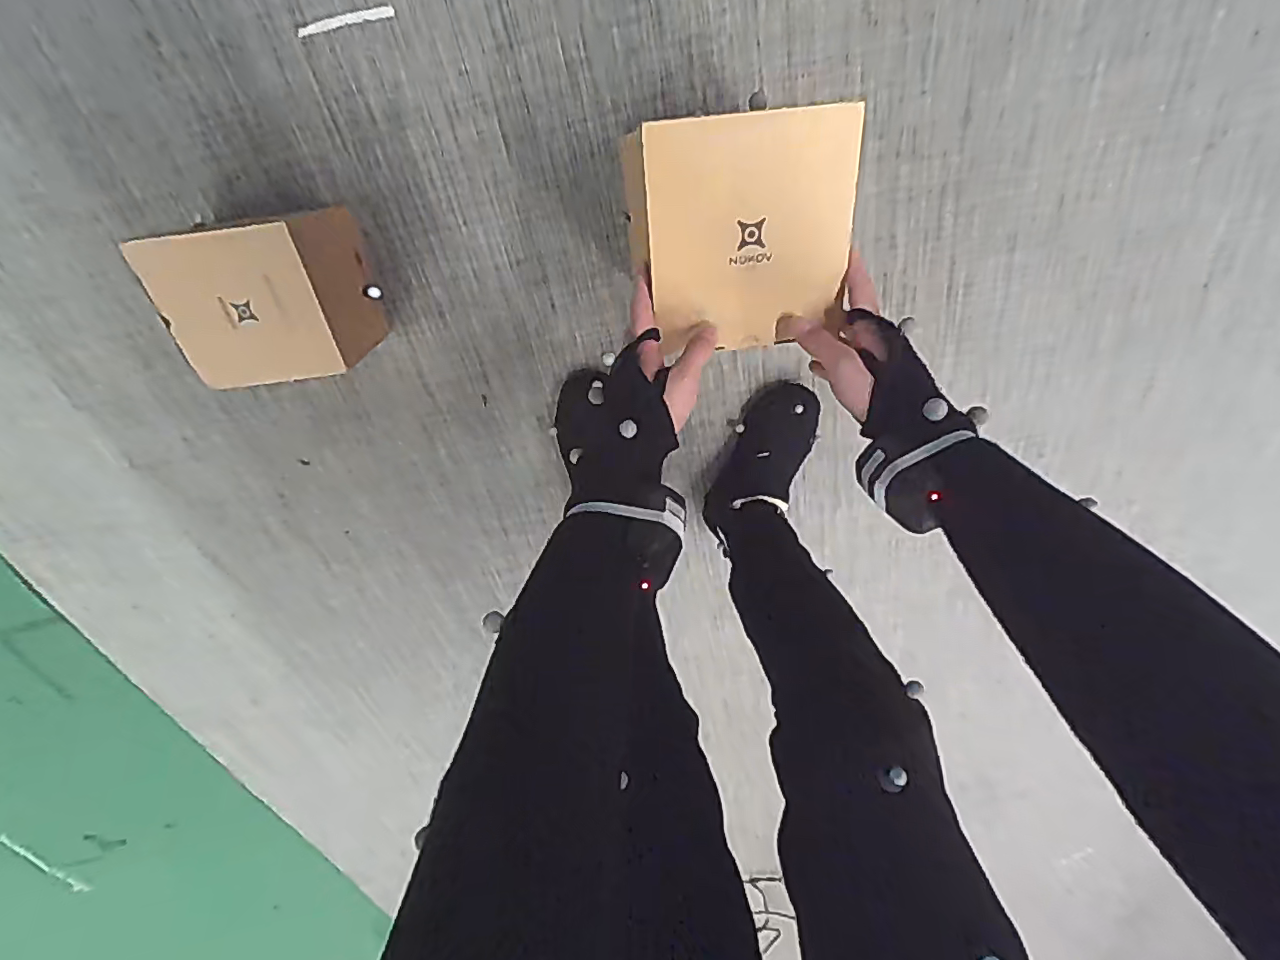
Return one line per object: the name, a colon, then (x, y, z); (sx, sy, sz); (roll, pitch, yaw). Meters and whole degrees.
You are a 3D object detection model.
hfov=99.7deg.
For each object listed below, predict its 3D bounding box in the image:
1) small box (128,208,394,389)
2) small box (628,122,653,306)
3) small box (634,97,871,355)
small box: (-0.433, -0.226, 0.657); (0.179, 0.176, 0.168); (-7, 123, 0)
small box: (0.071, -0.313, 0.636); (0.168, 0.176, 0.179); (0, 123, -2)
small box: (0.087, -0.232, 0.497); (0.168, 0.176, 0.179); (-7, 122, -1)
